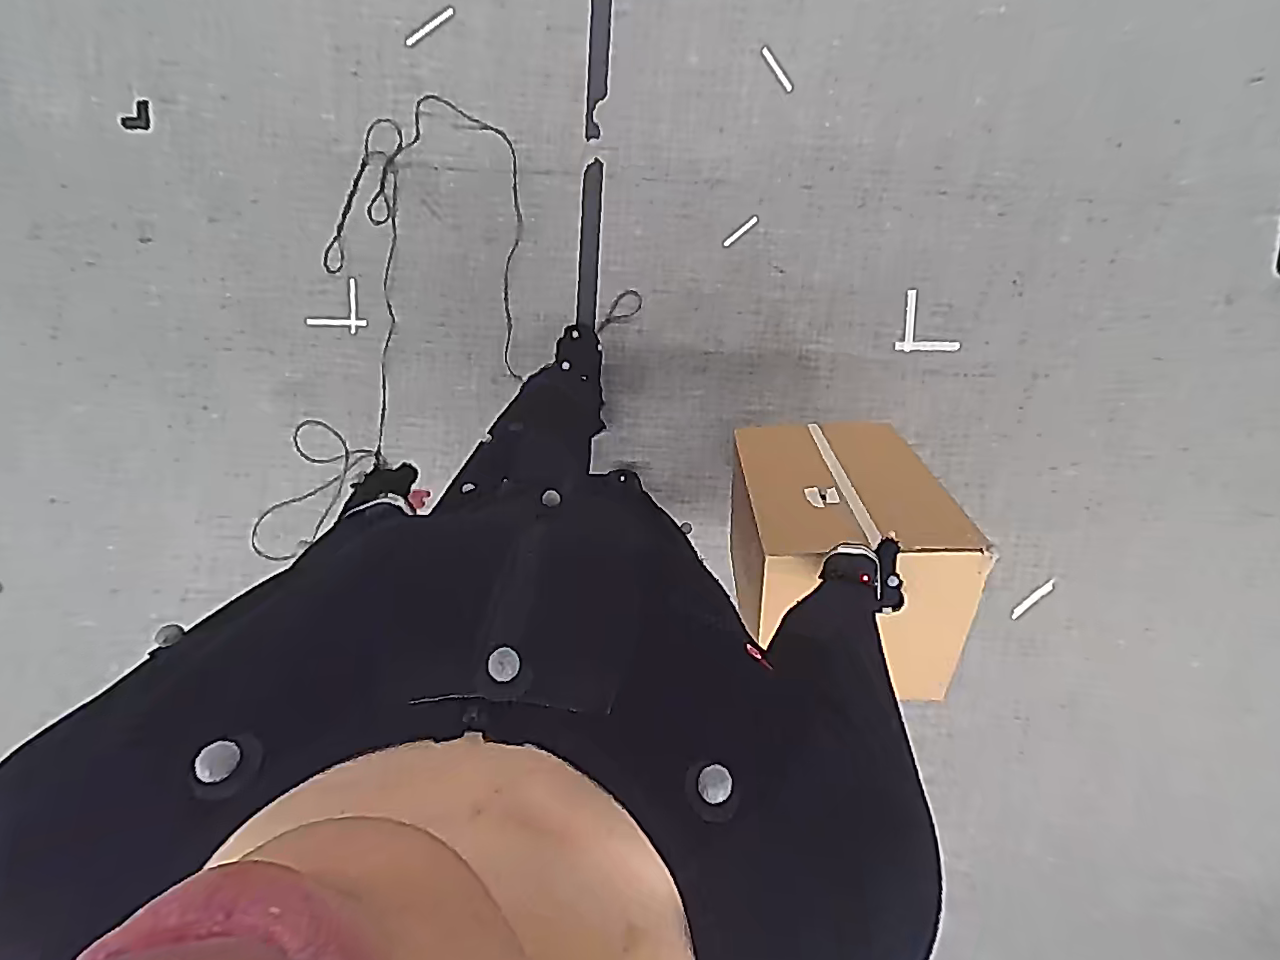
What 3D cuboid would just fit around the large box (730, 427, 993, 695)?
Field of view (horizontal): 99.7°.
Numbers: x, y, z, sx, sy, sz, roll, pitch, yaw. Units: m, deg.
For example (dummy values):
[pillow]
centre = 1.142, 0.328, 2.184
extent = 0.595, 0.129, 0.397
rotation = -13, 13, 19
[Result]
[large box]
centre = 0.350, 0.130, 1.001
extent = 0.320, 0.408, 0.320
rotation = -3, 122, 4
